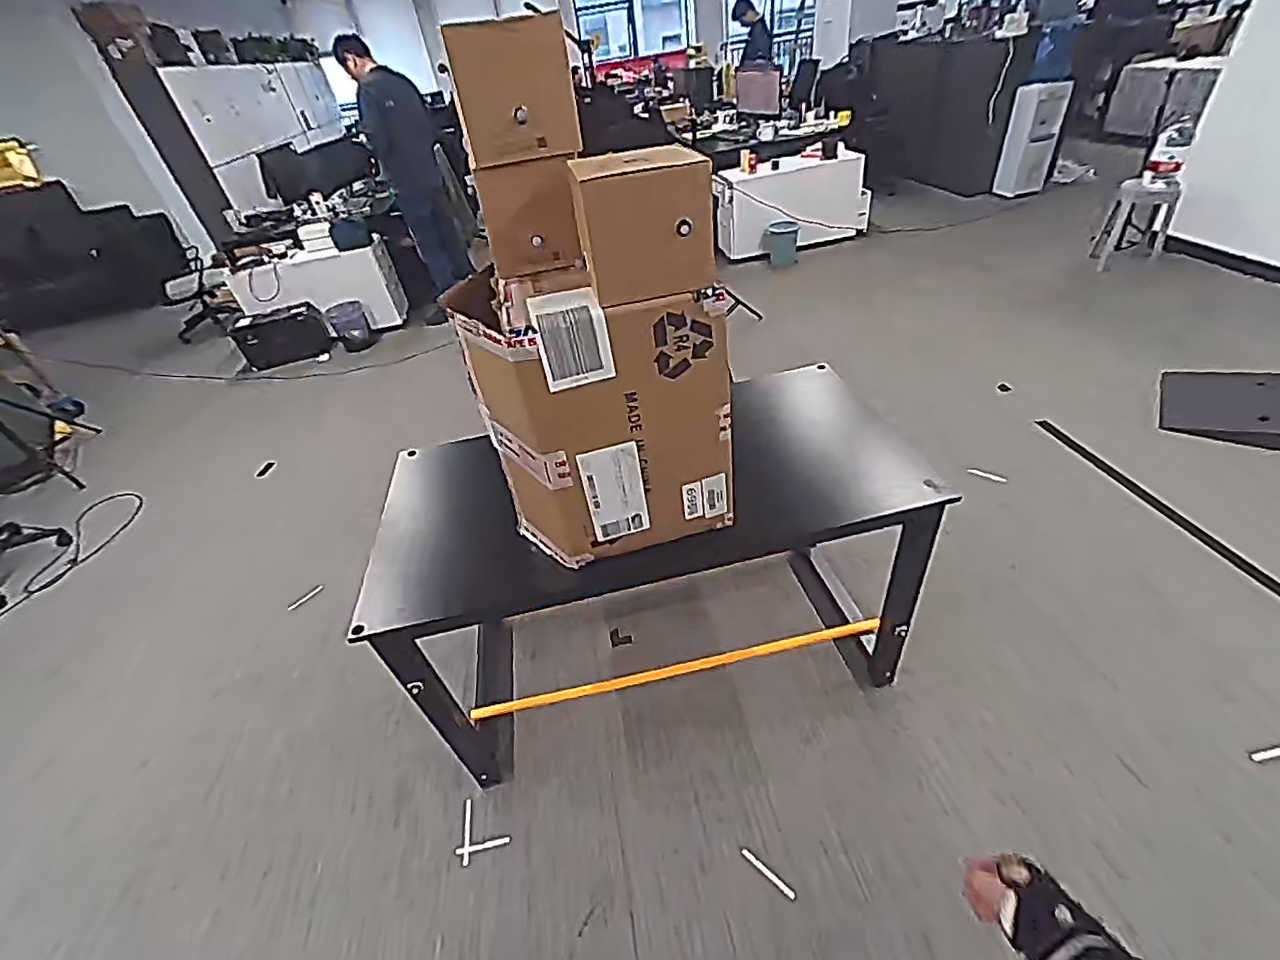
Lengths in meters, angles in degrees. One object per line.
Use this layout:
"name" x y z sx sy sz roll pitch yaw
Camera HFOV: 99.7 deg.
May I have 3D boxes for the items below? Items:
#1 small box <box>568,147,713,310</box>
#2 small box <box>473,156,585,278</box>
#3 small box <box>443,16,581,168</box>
"small box" 0.002 -0.372 0.800 0.179 0.176 0.168 -14 39 -5
"small box" -0.189 -0.469 0.948 0.168 0.176 0.179 -15 38 -8
"small box" -0.199 -0.596 0.842 0.168 0.176 0.179 -16 38 -10
